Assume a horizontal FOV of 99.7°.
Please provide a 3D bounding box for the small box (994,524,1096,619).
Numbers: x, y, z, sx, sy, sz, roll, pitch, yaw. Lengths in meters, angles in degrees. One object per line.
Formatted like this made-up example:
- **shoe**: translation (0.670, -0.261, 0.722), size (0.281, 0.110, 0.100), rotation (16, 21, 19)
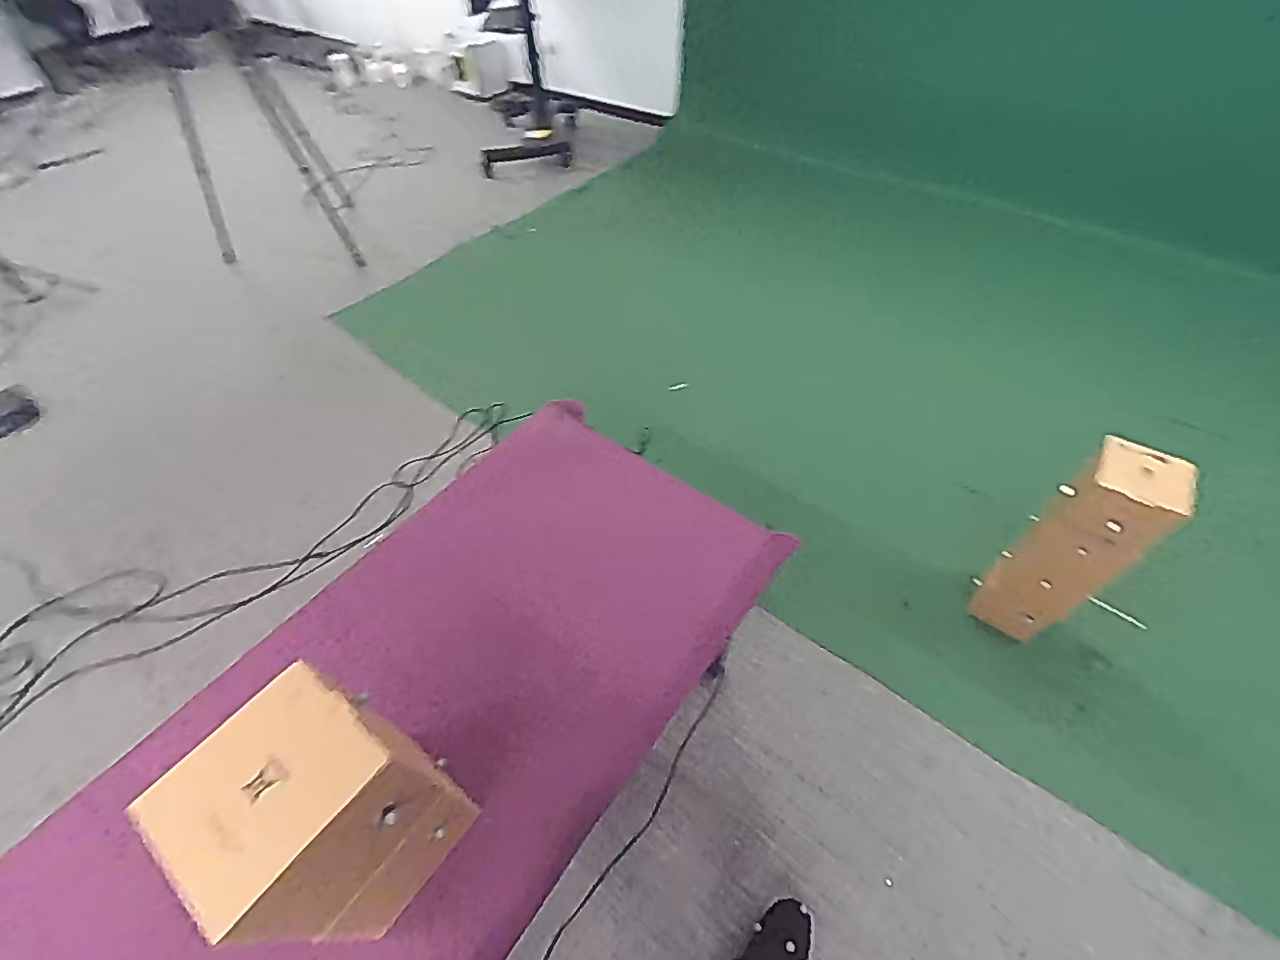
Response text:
- **small box**: translation (1.126, 0.260, 1.497), size (0.179, 0.176, 0.168), rotation (27, 57, 24)

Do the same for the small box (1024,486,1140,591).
- **small box**: translation (1.118, 0.154, 1.372), size (0.179, 0.176, 0.168), rotation (27, 57, 22)

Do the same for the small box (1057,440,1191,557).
- **small box**: translation (1.107, 0.046, 1.248), size (0.168, 0.176, 0.179), rotation (28, 58, 23)

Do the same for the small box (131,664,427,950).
- **small box**: translation (-0.350, 0.337, 0.567), size (0.168, 0.176, 0.179), rotation (29, 58, 24)

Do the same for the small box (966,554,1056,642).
- **small box**: translation (1.125, 0.361, 1.623), size (0.179, 0.176, 0.168), rotation (30, 58, 25)
